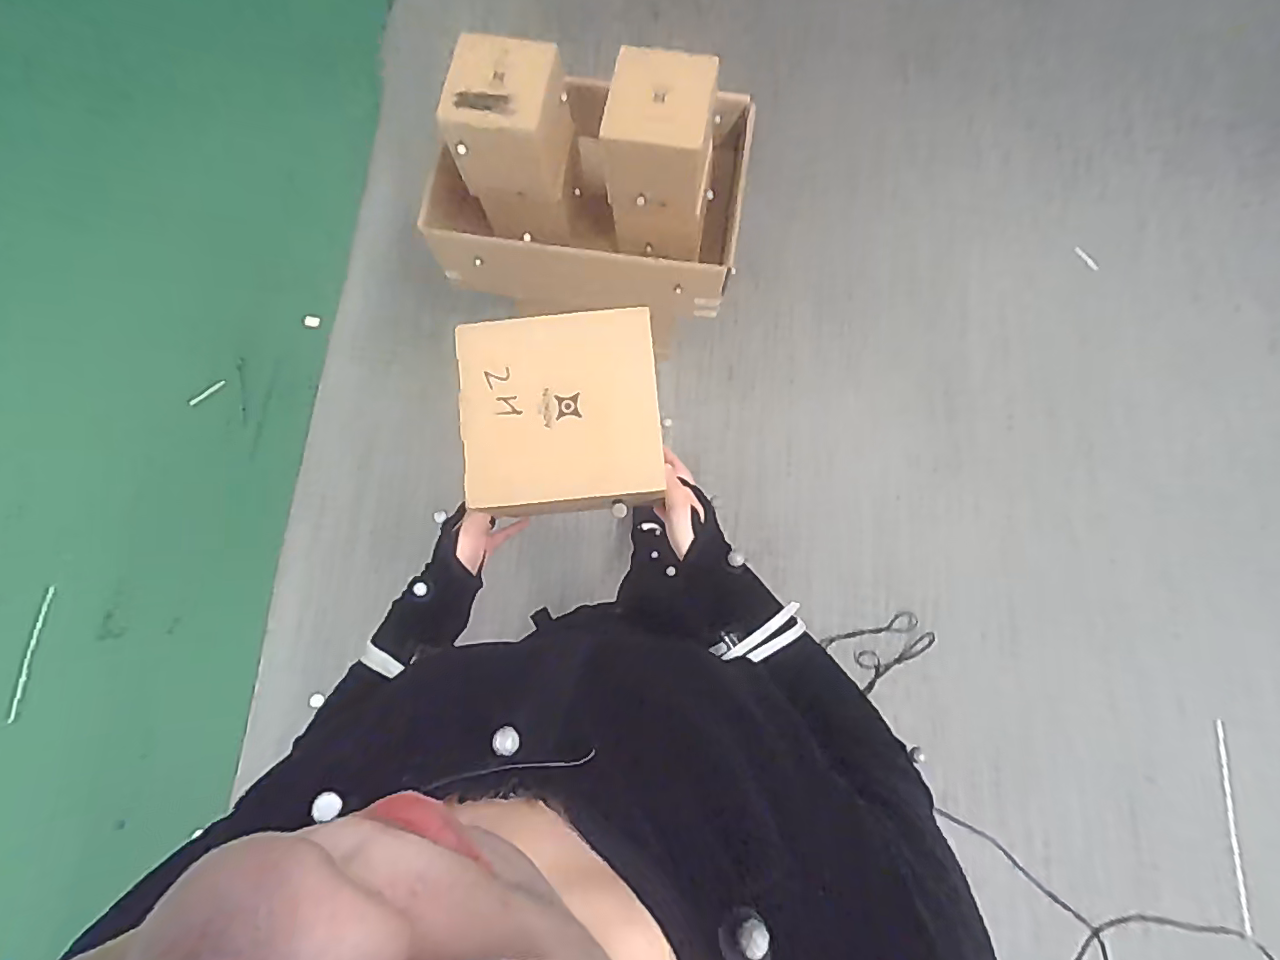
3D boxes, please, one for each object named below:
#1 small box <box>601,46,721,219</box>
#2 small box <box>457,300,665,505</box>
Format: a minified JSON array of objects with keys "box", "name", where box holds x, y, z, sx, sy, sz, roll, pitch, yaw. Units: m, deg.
[{"box":[0.037,-0.592,0.936,0.168,0.176,0.179,11,80,6],"name":"small box"},{"box":[-0.069,-0.065,0.551,0.179,0.176,0.168,-5,84,2],"name":"small box"}]
